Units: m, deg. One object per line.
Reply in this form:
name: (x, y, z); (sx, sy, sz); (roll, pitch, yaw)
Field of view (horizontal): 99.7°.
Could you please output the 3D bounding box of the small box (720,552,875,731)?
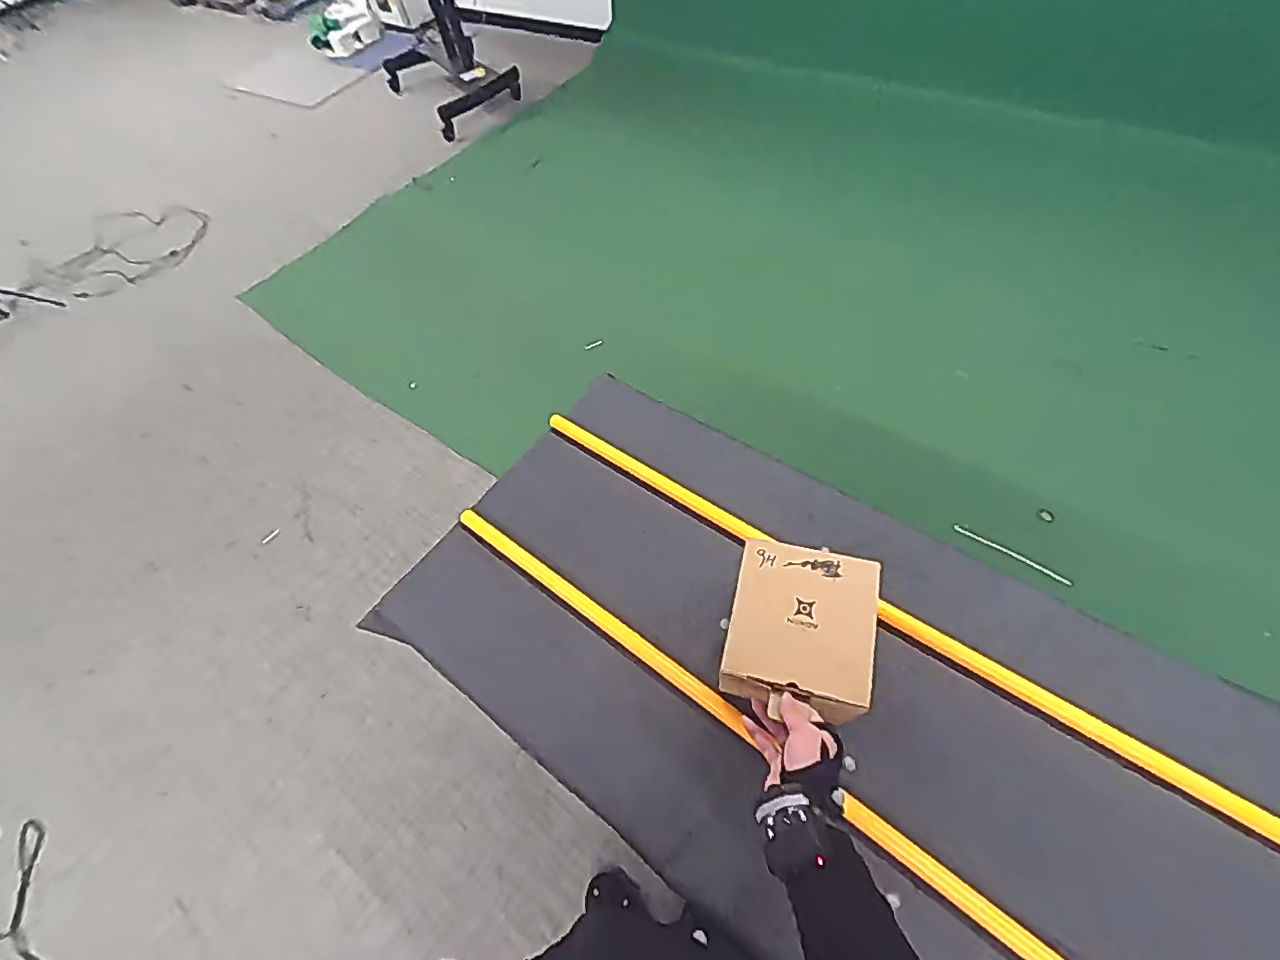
small box: (0.204, 0.218, 0.715); (0.168, 0.176, 0.179); (7, 61, 14)
